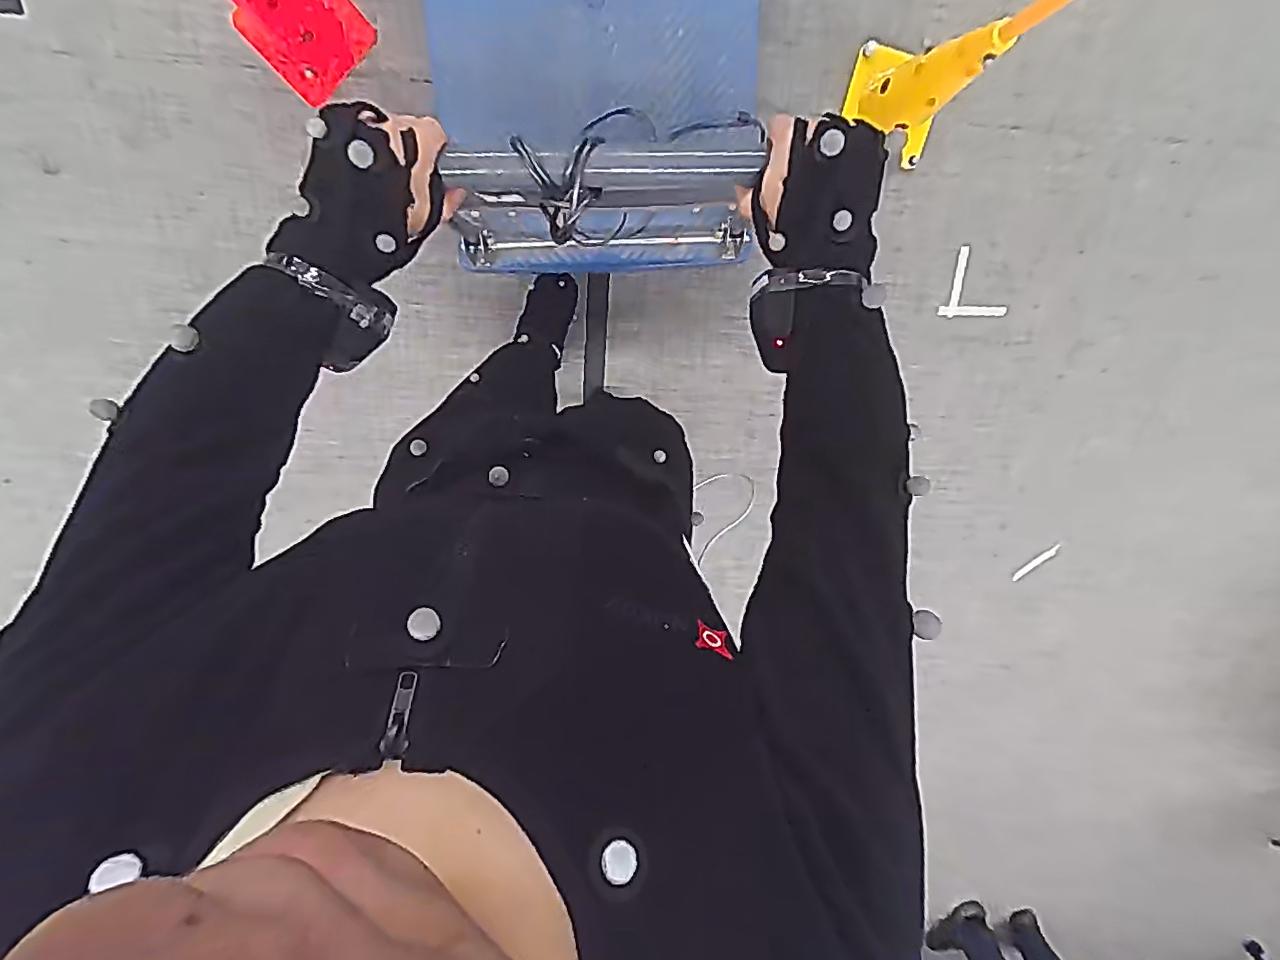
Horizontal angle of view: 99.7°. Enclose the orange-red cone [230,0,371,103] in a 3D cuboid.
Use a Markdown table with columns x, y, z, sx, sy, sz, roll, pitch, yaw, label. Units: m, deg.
| x | y | z | sx | sy | sz | roll | pitch | yaw | label |
| --- | --- | --- | --- | --- | --- | --- | --- | --- | --- |
| -0.628 | -0.810 | 0.871 | 0.199 | 0.360 | 0.198 | -41 | 109 | 9 | orange-red cone |
